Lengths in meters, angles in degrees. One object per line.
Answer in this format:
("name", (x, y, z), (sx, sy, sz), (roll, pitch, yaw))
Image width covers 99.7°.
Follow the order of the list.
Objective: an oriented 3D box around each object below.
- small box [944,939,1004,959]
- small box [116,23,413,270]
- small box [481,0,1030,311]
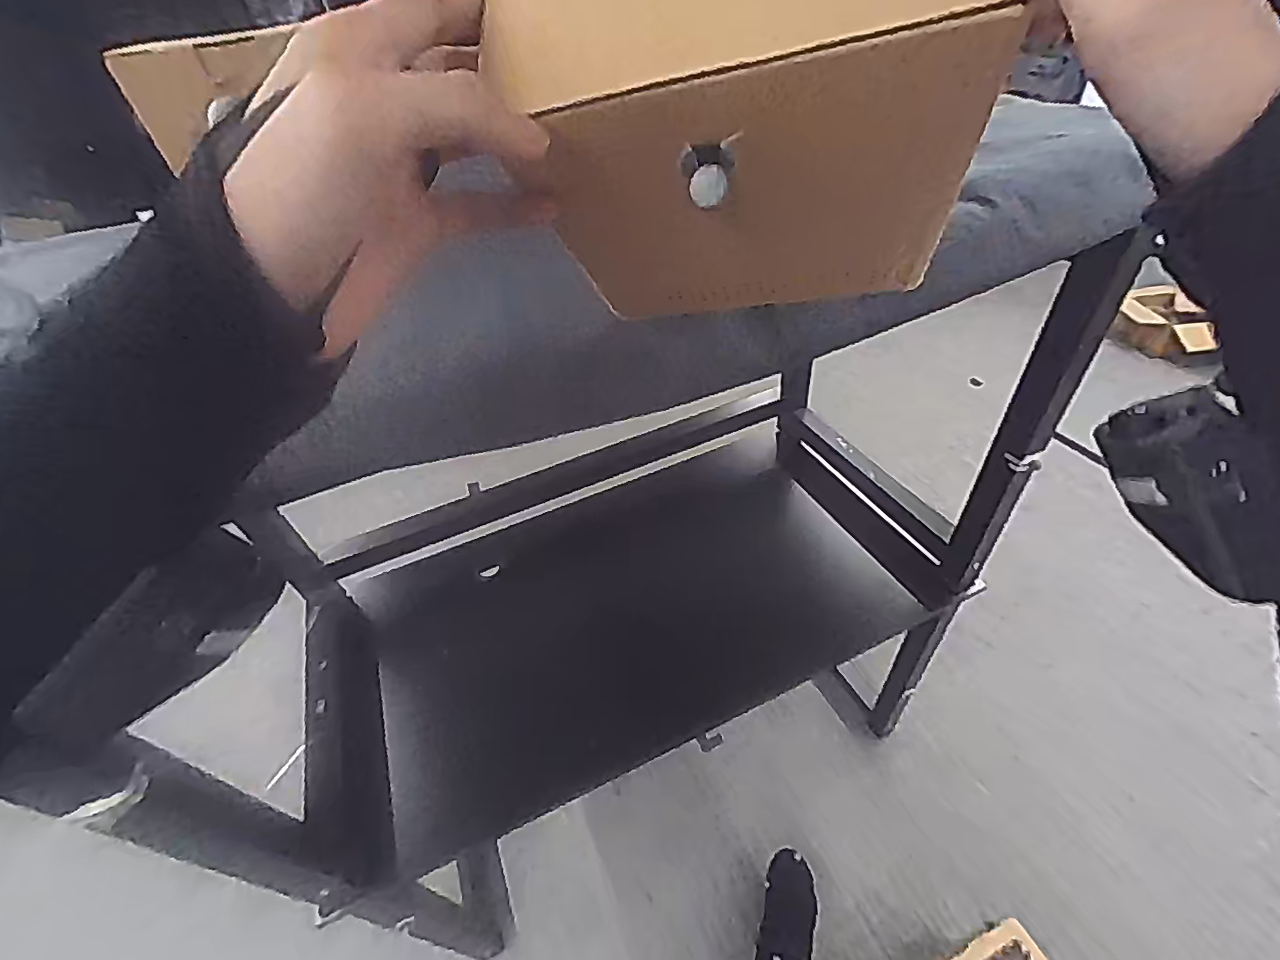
("small box", (0.657, 1.046, 1.055), (0.179, 0.176, 0.168), (-23, 45, -14))
("small box", (-0.340, -0.324, 0.531), (0.168, 0.176, 0.179), (-21, 44, -13))
("small box", (0.050, -0.198, 0.257), (0.179, 0.176, 0.168), (-2, 81, 18))
